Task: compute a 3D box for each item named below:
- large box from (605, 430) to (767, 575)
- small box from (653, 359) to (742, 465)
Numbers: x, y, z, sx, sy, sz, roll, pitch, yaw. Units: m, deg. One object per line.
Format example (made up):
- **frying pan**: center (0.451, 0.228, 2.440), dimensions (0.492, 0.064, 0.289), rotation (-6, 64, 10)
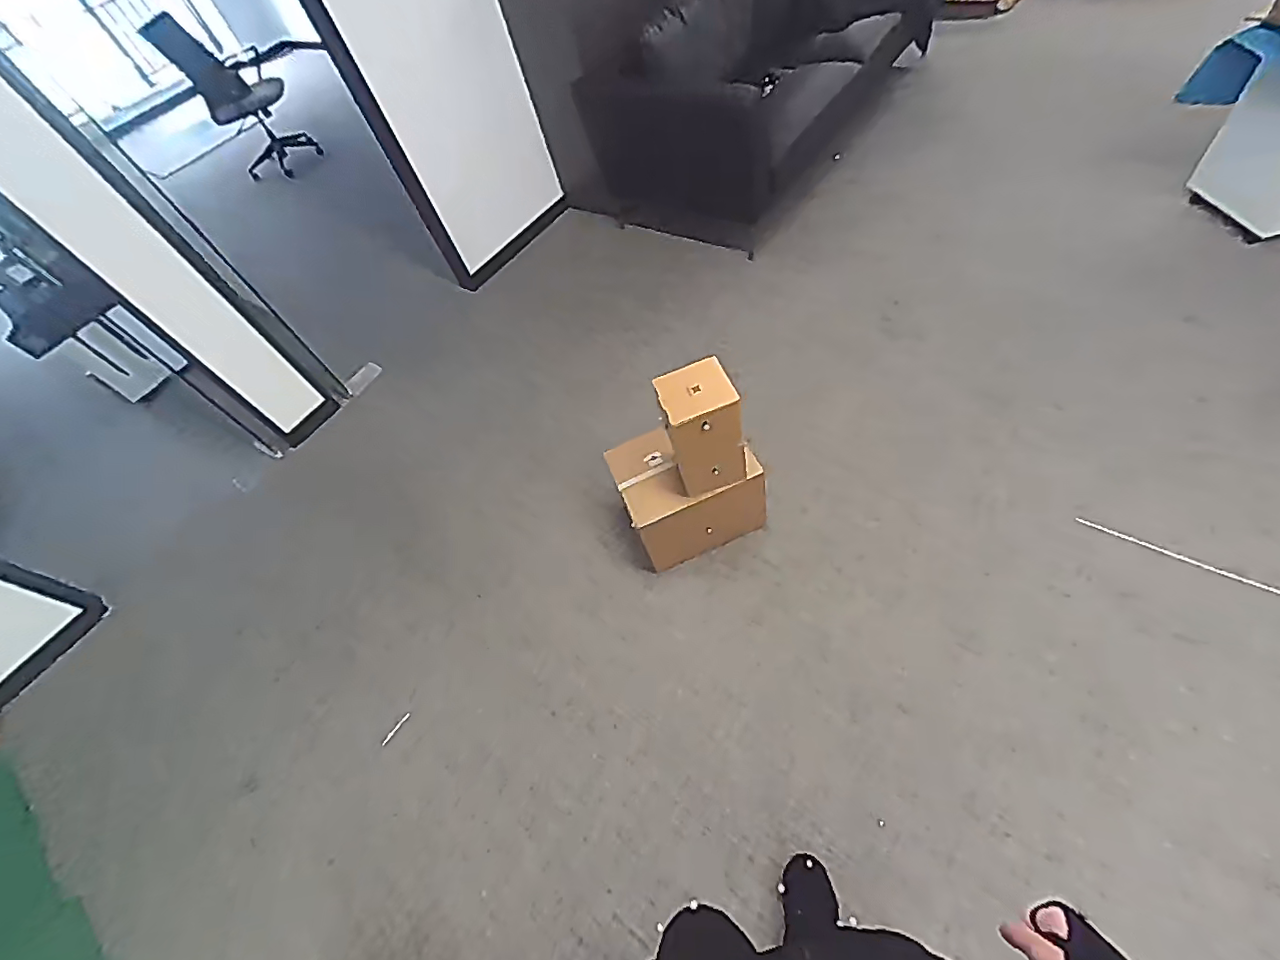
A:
- **large box**: center (0.154, 0.041, 1.731), dimensions (0.408, 0.320, 0.320), rotation (-25, 53, -2)
- **small box**: center (0.150, -0.169, 1.370), dimensions (0.179, 0.176, 0.168), rotation (-22, 55, 1)
